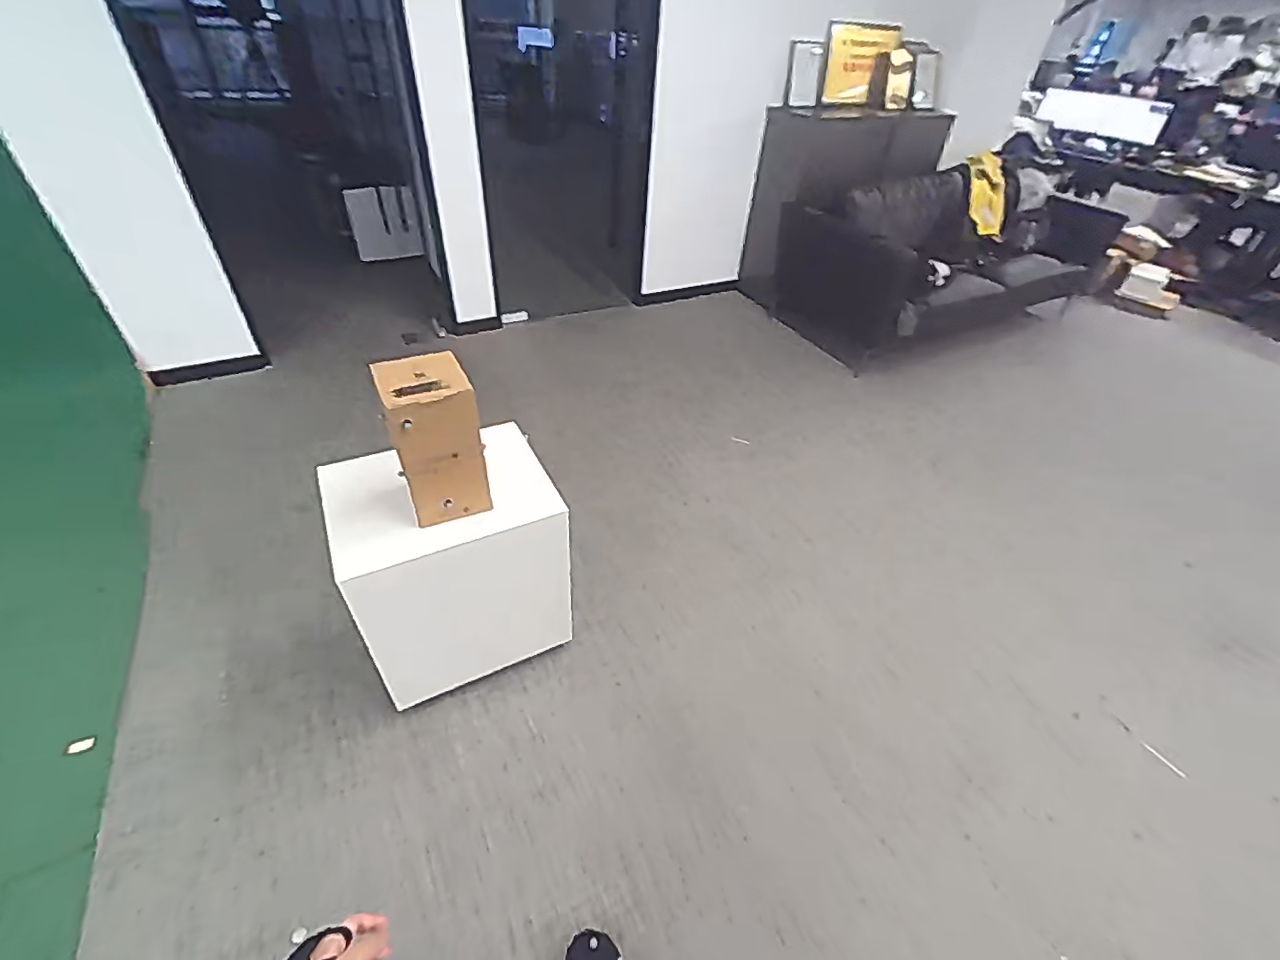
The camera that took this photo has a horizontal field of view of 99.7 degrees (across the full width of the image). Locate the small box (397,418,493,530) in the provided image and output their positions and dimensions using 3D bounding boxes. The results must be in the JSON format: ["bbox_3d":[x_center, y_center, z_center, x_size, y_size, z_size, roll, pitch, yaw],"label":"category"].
[{"bbox_3d":[-0.445,-0.016,1.243,0.168,0.176,0.179,-16,44,-22],"label":"small box"}]
